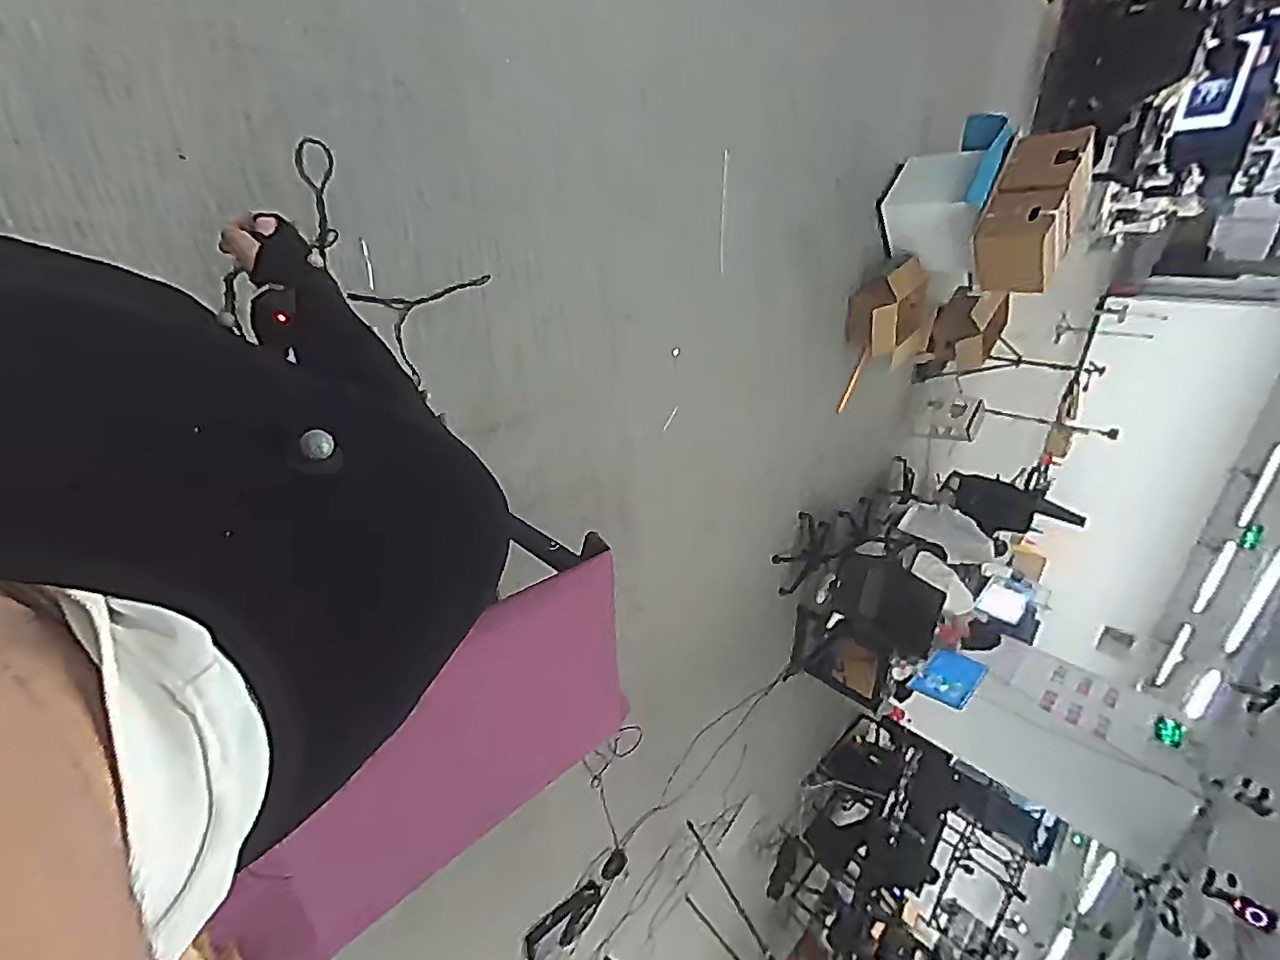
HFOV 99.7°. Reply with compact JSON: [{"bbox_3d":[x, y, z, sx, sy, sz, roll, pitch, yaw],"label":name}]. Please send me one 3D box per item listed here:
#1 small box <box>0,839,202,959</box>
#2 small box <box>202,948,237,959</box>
[{"bbox_3d":[-0.764,0.675,0.778,0.168,0.176,0.179,-24,125,-40],"label":"small box"},{"bbox_3d":[-0.760,0.959,0.916,0.168,0.176,0.179,-22,120,-40],"label":"small box"}]
